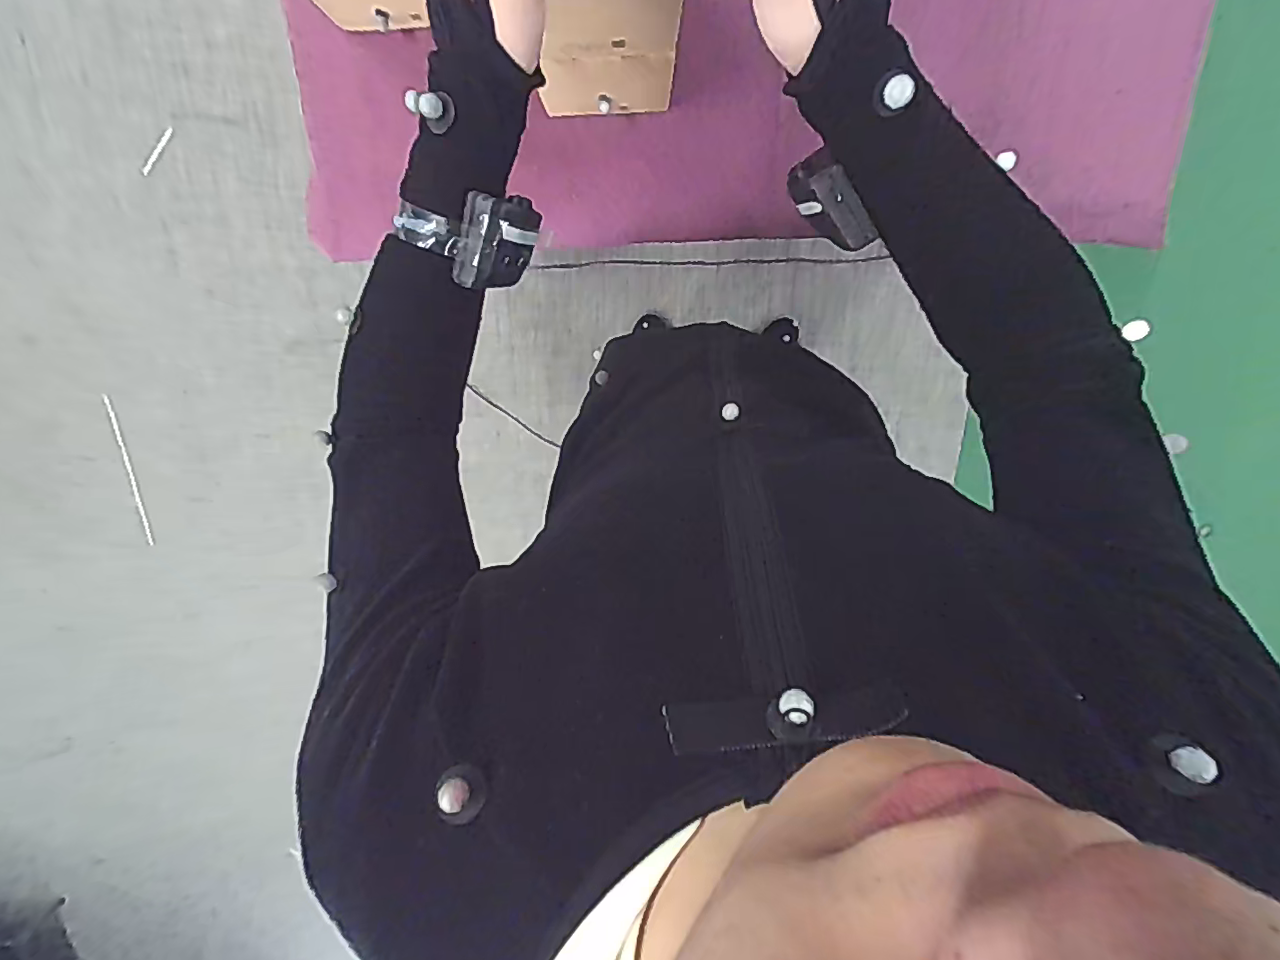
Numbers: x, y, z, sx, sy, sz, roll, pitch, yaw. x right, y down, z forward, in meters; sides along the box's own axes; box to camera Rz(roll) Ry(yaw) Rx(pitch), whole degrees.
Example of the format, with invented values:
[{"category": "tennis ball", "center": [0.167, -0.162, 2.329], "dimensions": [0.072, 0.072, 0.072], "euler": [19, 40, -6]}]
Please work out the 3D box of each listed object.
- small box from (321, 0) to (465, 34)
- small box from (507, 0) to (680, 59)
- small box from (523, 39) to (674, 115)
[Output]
[{"category": "small box", "center": [-0.312, -0.652, 0.610], "dimensions": [0.168, 0.176, 0.179], "euler": [-3, 107, 1]}, {"category": "small box", "center": [-0.047, -0.517, 0.479], "dimensions": [0.168, 0.176, 0.179], "euler": [-2, 106, 1]}, {"category": "small box", "center": [-0.047, -0.562, 0.637], "dimensions": [0.168, 0.176, 0.179], "euler": [-2, 107, 1]}]
